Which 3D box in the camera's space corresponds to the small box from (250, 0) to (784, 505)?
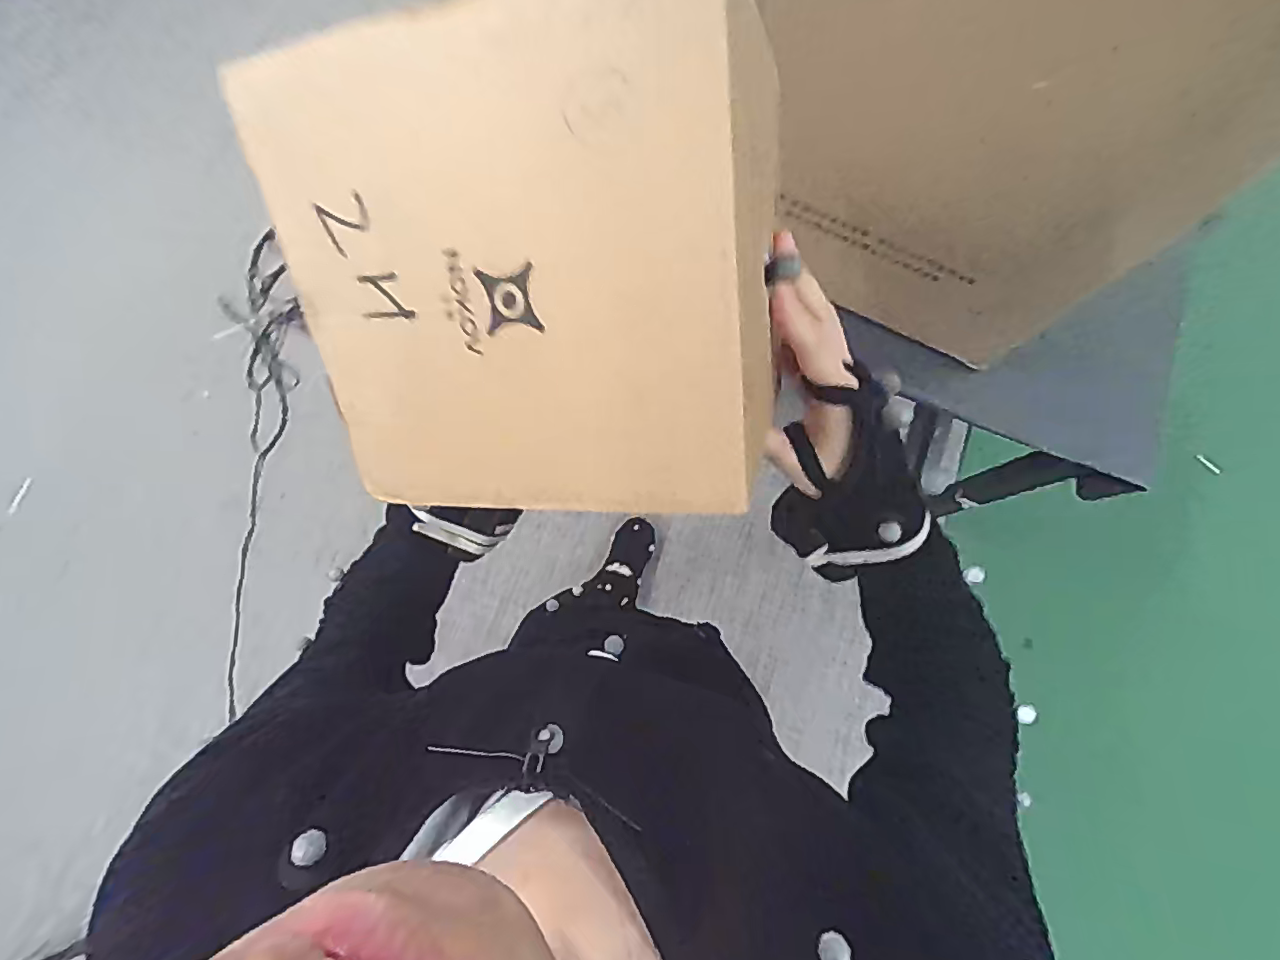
[{"bbox_3d":[-0.023,-0.100,0.263,0.179,0.176,0.168,1,115,18],"label":"small box"}]
